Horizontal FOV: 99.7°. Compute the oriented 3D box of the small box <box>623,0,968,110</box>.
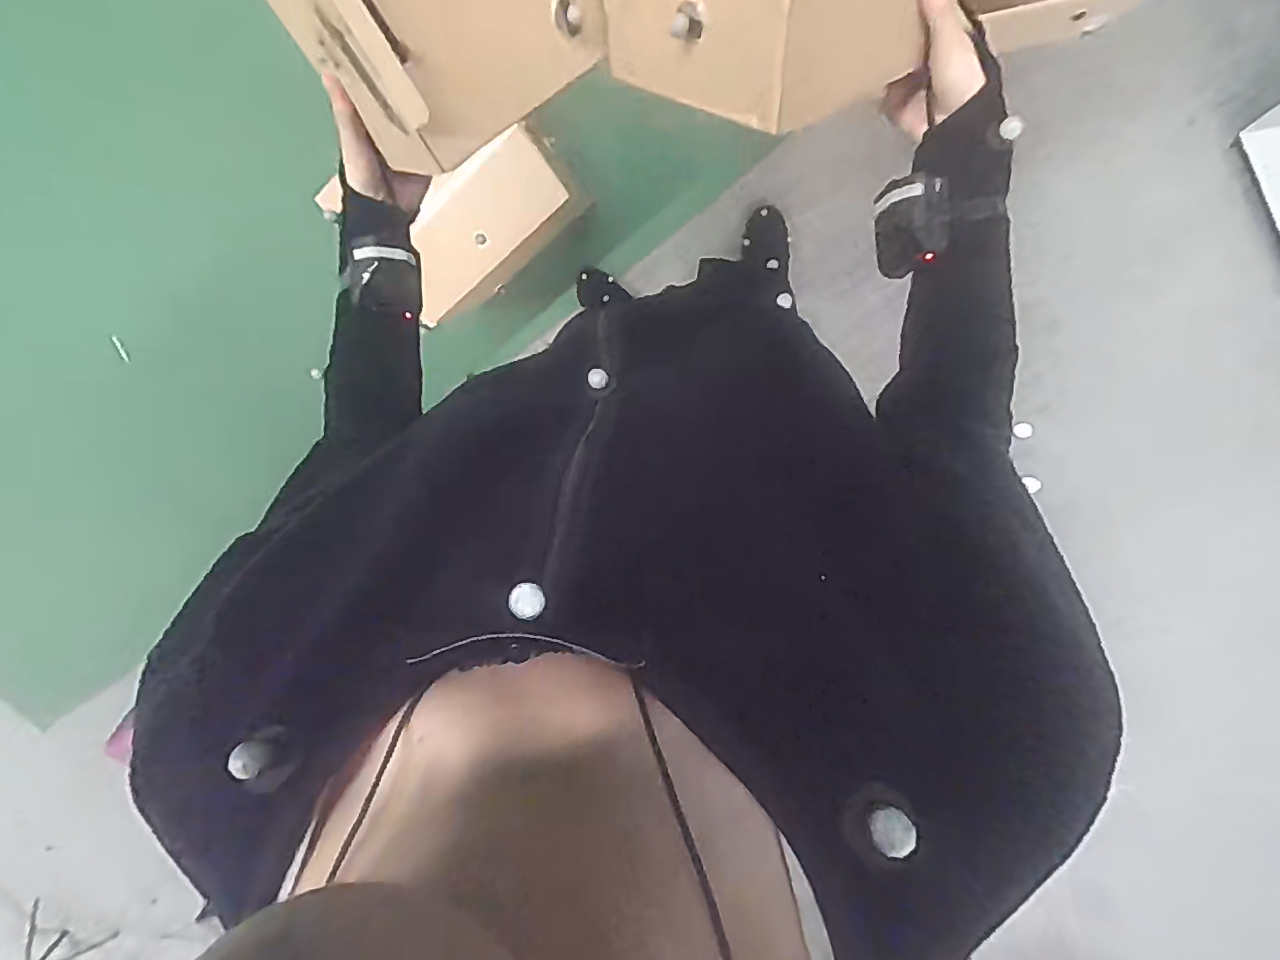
[{"bbox_3d":[0.098,-0.360,0.327,0.179,0.176,0.168,-35,149,-20],"label":"small box"}]
